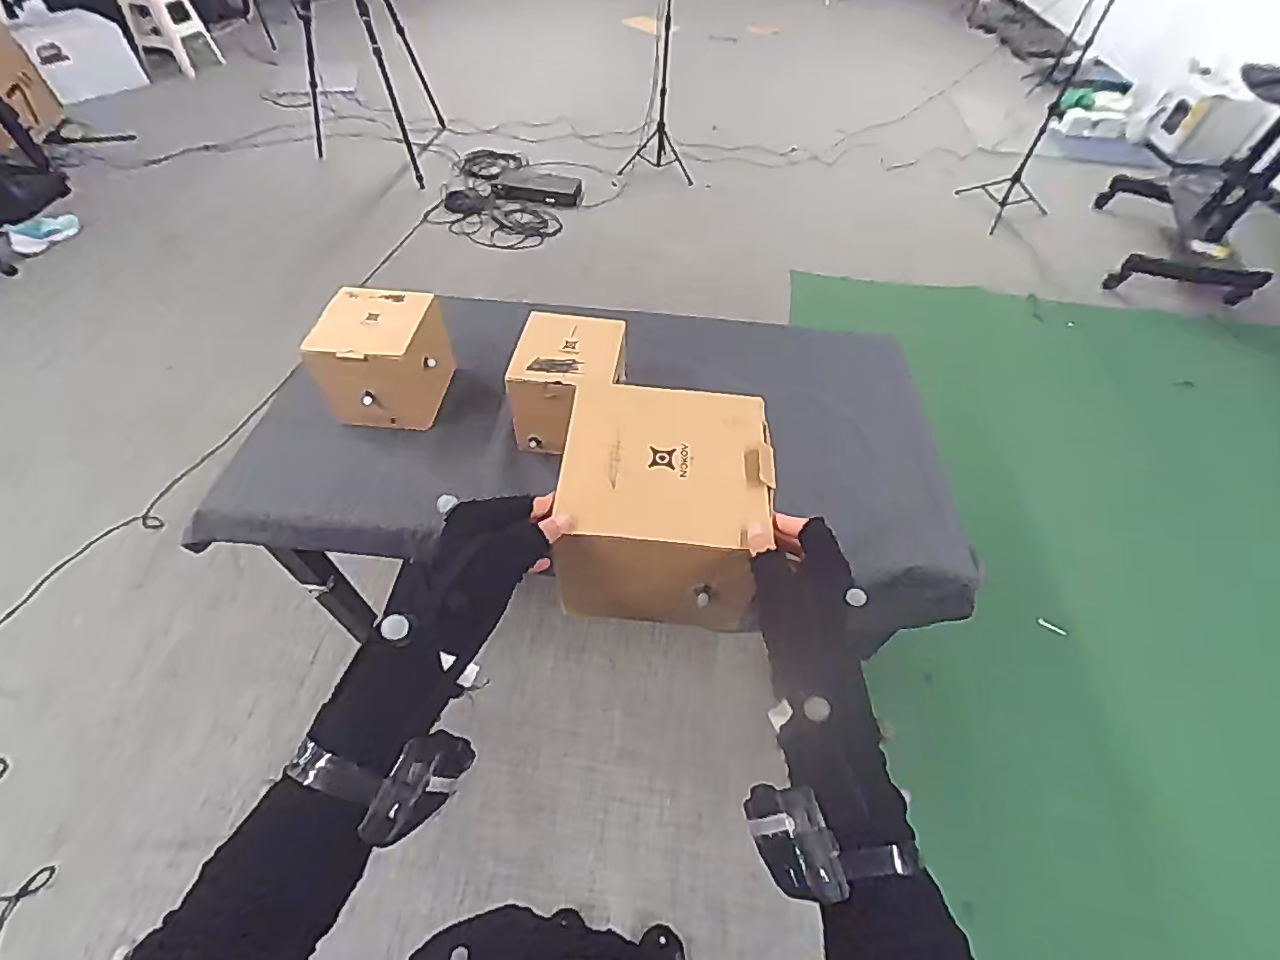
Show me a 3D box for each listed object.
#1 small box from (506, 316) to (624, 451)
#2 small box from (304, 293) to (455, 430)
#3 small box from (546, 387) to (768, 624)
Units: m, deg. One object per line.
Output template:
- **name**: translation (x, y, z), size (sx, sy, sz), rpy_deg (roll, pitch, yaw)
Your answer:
- **small box**: translation (-0.119, -0.158, 0.940), size (0.168, 0.176, 0.179), rpy_deg (6, 51, 3)
- **small box**: translation (-0.446, -0.206, 0.963), size (0.168, 0.176, 0.179), rpy_deg (4, 53, 1)
- **small box**: translation (0.016, 0.031, 0.527), size (0.179, 0.176, 0.168), rpy_deg (3, 54, 1)
